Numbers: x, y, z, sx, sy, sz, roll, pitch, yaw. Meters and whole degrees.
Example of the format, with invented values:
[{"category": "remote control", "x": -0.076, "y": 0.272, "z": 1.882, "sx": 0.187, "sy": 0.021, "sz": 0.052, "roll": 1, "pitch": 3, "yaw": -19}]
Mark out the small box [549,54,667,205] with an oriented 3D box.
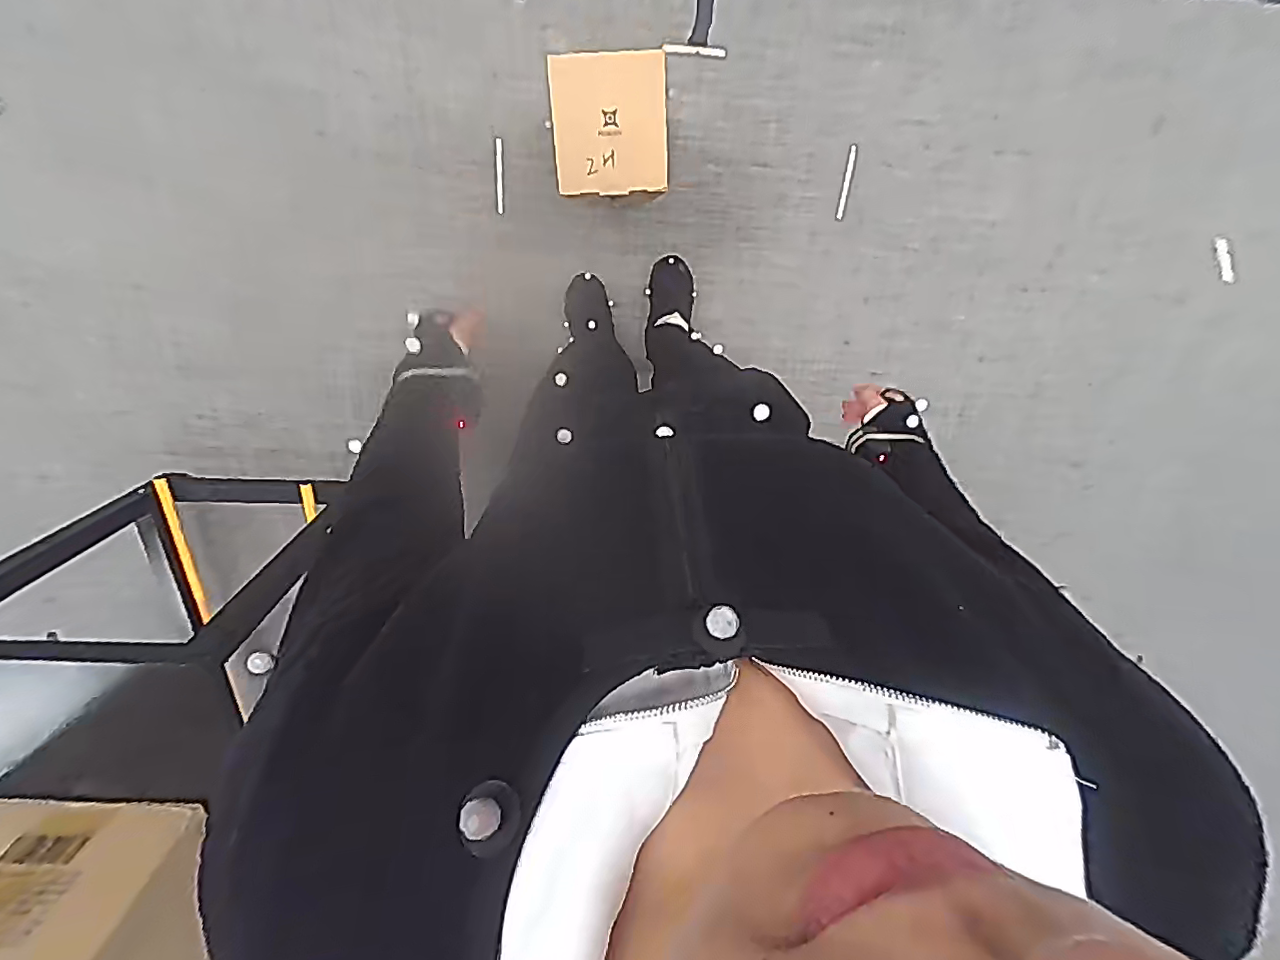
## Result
[{"category": "small box", "x": -0.046, "y": -0.539, "z": 0.852, "sx": 0.168, "sy": 0.176, "sz": 0.179, "roll": -2, "pitch": 115, "yaw": 0}]
